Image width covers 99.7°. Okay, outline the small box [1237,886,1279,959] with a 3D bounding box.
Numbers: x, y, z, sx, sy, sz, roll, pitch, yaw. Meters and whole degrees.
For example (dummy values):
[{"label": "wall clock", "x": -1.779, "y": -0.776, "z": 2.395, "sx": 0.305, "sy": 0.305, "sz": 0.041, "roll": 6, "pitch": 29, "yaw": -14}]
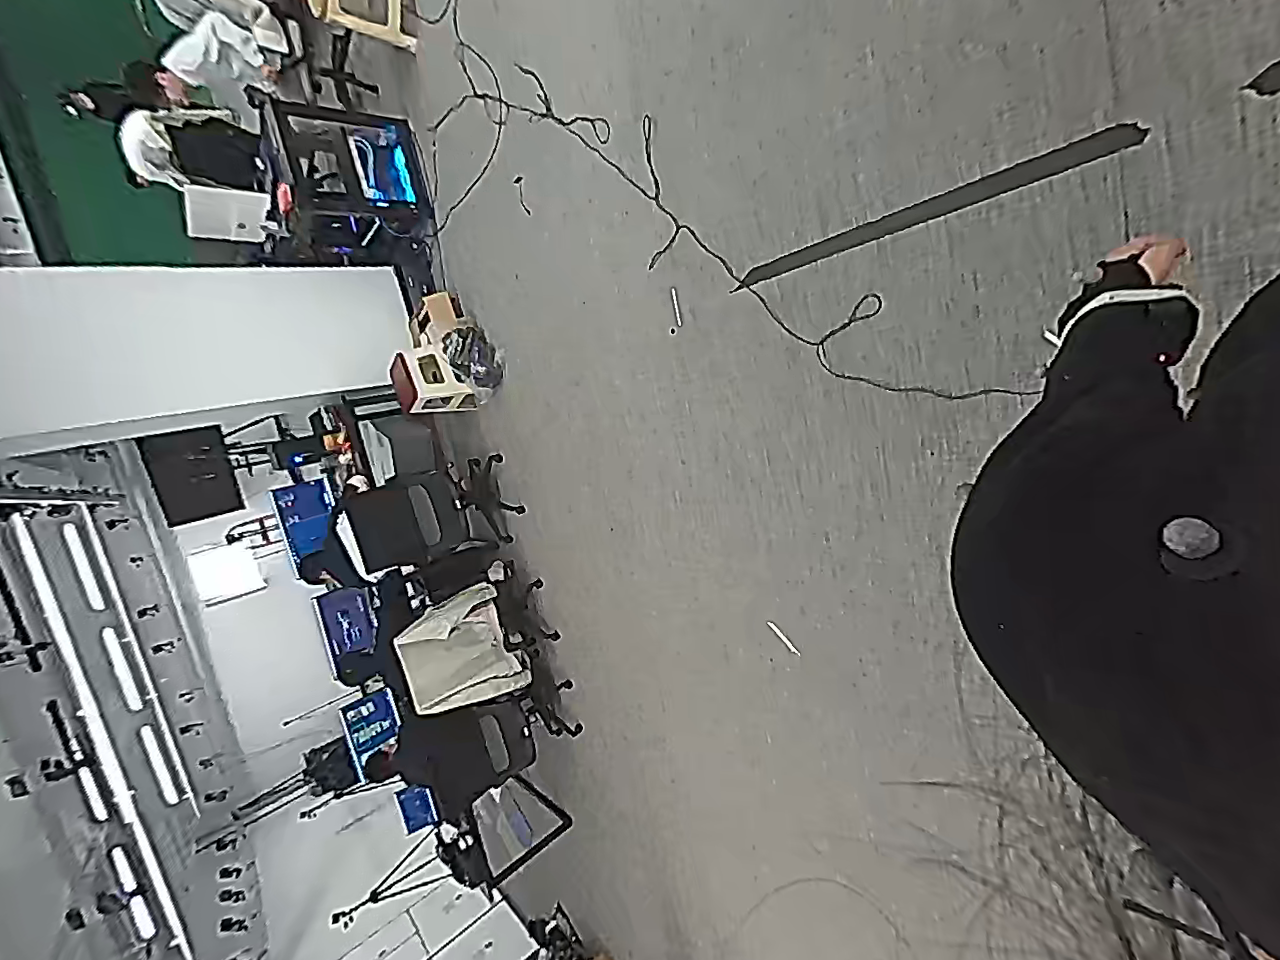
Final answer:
[{"label": "small box", "x": 1.369, "y": 1.005, "z": 1.120, "sx": 0.168, "sy": 0.176, "sz": 0.179, "roll": -5, "pitch": 101, "yaw": 52}]
